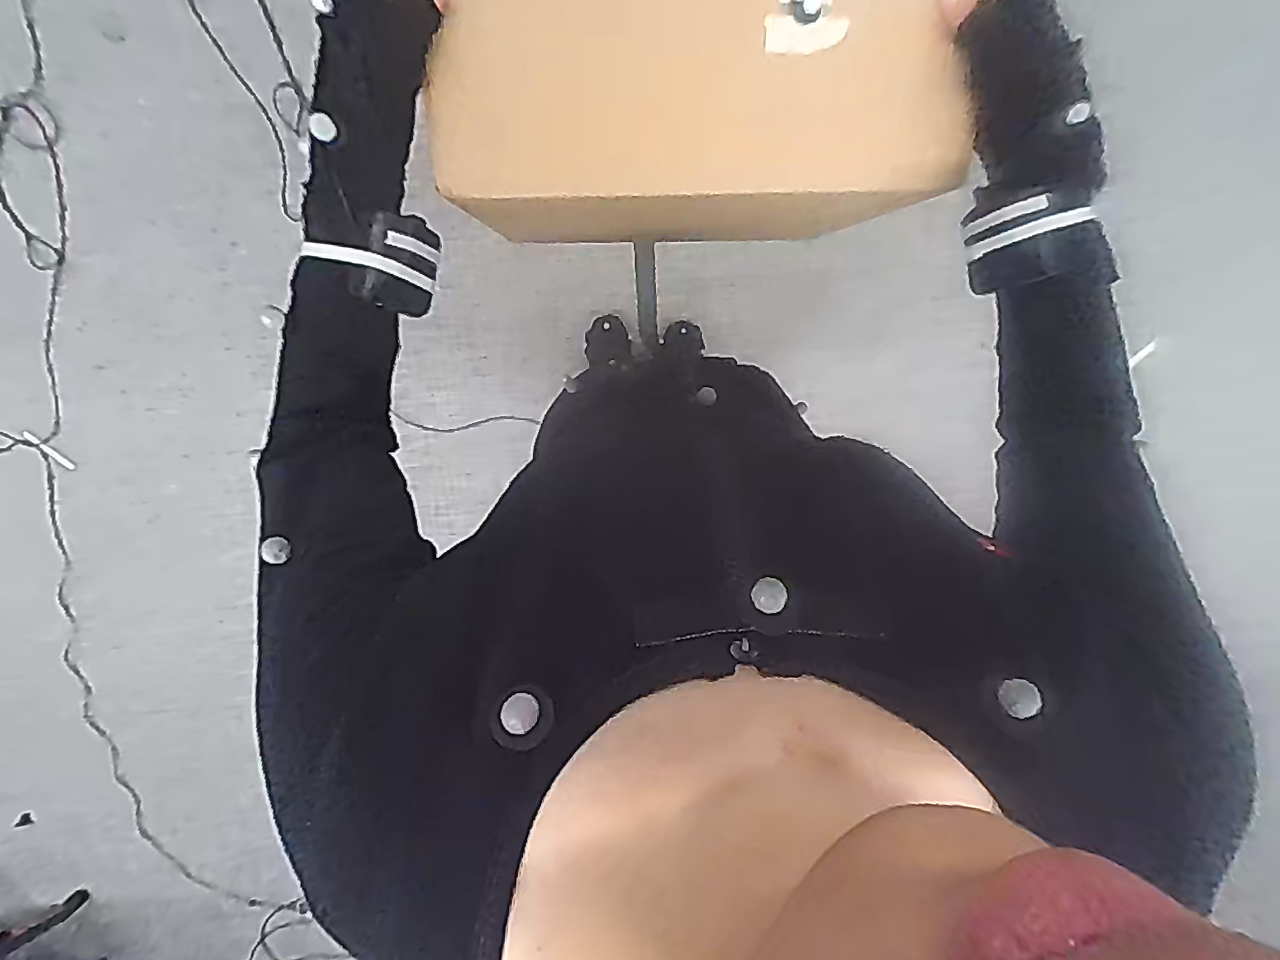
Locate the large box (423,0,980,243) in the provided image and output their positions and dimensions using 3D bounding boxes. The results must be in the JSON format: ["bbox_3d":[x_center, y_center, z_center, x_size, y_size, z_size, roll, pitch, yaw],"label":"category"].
[{"bbox_3d":[0.034,-0.416,0.509,0.408,0.320,0.320,-3,108,-4],"label":"large box"}]
